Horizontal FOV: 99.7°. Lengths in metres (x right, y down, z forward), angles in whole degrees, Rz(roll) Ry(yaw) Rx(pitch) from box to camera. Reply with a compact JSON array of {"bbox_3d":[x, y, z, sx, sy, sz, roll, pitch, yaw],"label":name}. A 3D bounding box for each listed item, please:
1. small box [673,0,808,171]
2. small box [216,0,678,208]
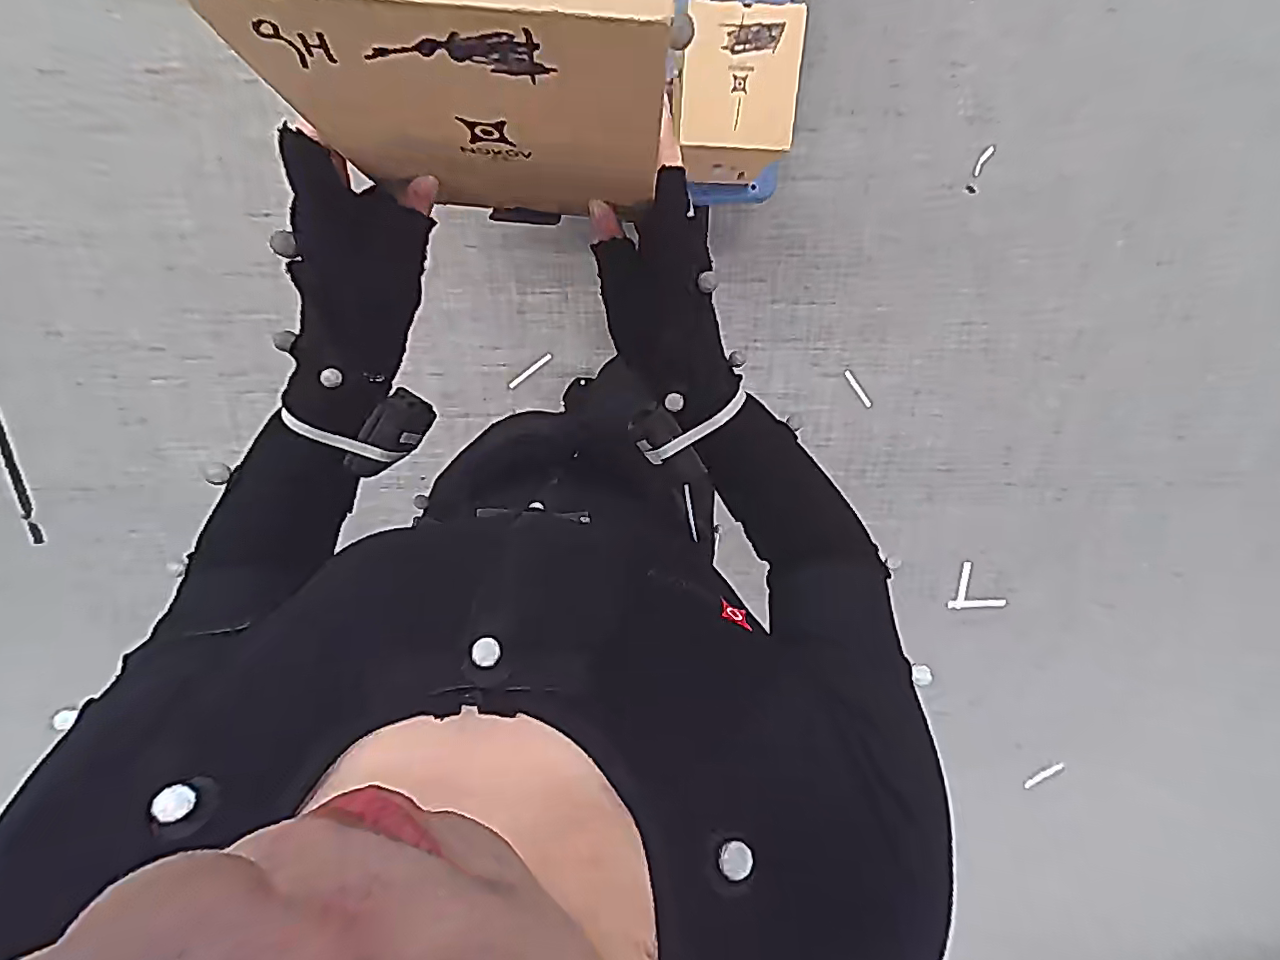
[{"bbox_3d":[0.142,-0.596,0.833,0.168,0.176,0.179,2,111,-1],"label":"small box"},{"bbox_3d":[-0.064,-0.253,0.252,0.168,0.179,0.176,3,96,-1],"label":"small box"}]
